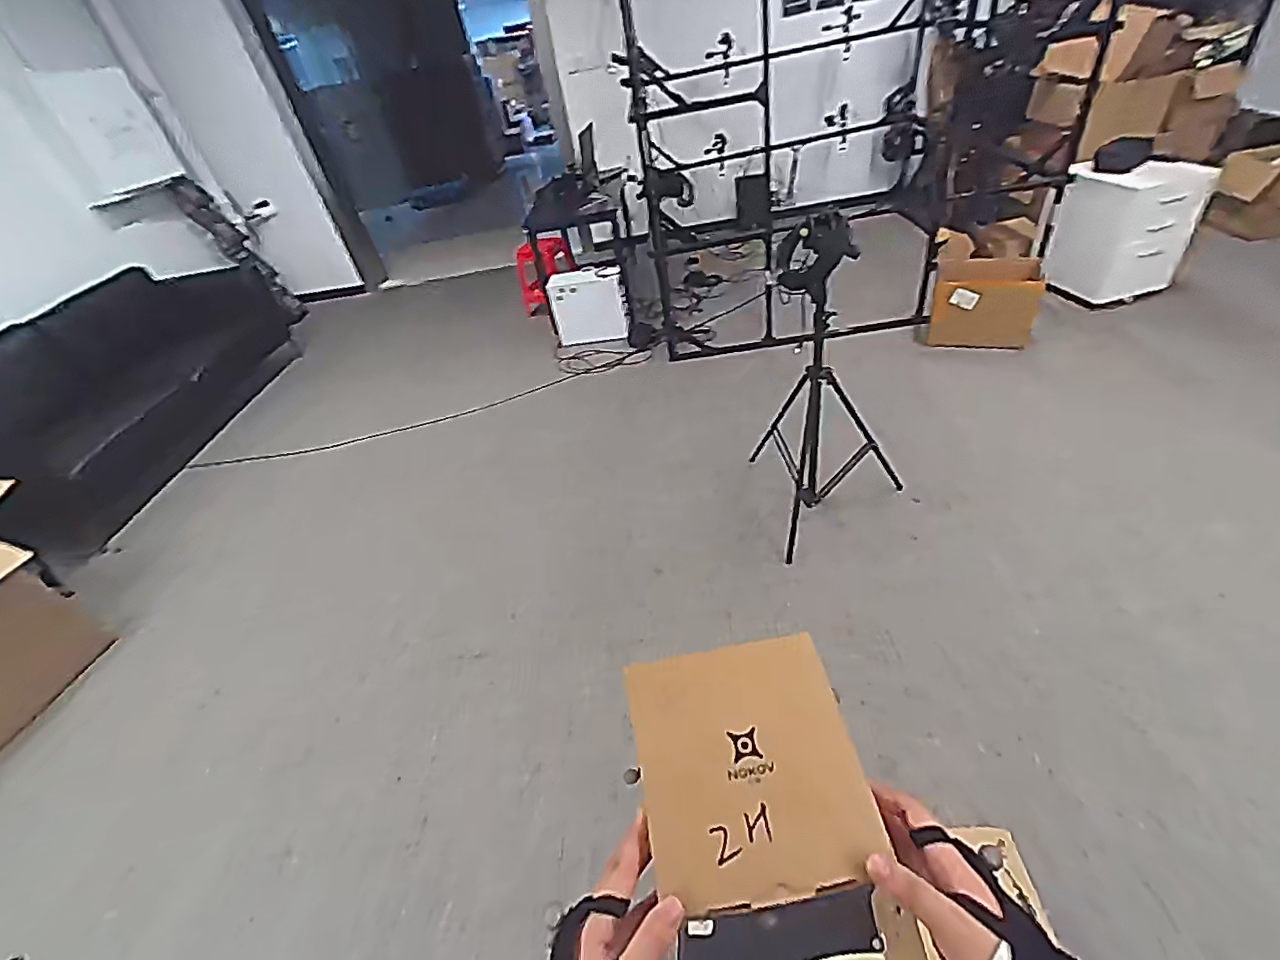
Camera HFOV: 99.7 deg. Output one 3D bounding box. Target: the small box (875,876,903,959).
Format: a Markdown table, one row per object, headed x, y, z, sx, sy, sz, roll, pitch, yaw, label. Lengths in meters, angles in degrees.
| x | y | z | sx | sy | sz | roll | pitch | yaw | label |
| --- | --- | --- | --- | --- | --- | --- | --- | --- | --- |
| 0.506 | 0.787 | 0.910 | 0.179 | 0.176 | 0.168 | -8 | 39 | 7 | small box |

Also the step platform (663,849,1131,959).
| x | y | z | sx | sy | sz | roll | pitch | yaw | label |
| --- | --- | --- | --- | --- | --- | --- | --- | --- | --- |
| 0.386 | 0.806 | 0.859 | 0.684 | 0.204 | 0.286 | -8 | 39 | 4 | step platform |

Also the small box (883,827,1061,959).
| x | y | z | sx | sy | sz | roll | pitch | yaw | label |
| --- | --- | --- | --- | --- | --- | --- | --- | --- | --- |
| 0.482 | 0.650 | 0.821 | 0.179 | 0.176 | 0.168 | -6 | 39 | 8 | small box |
